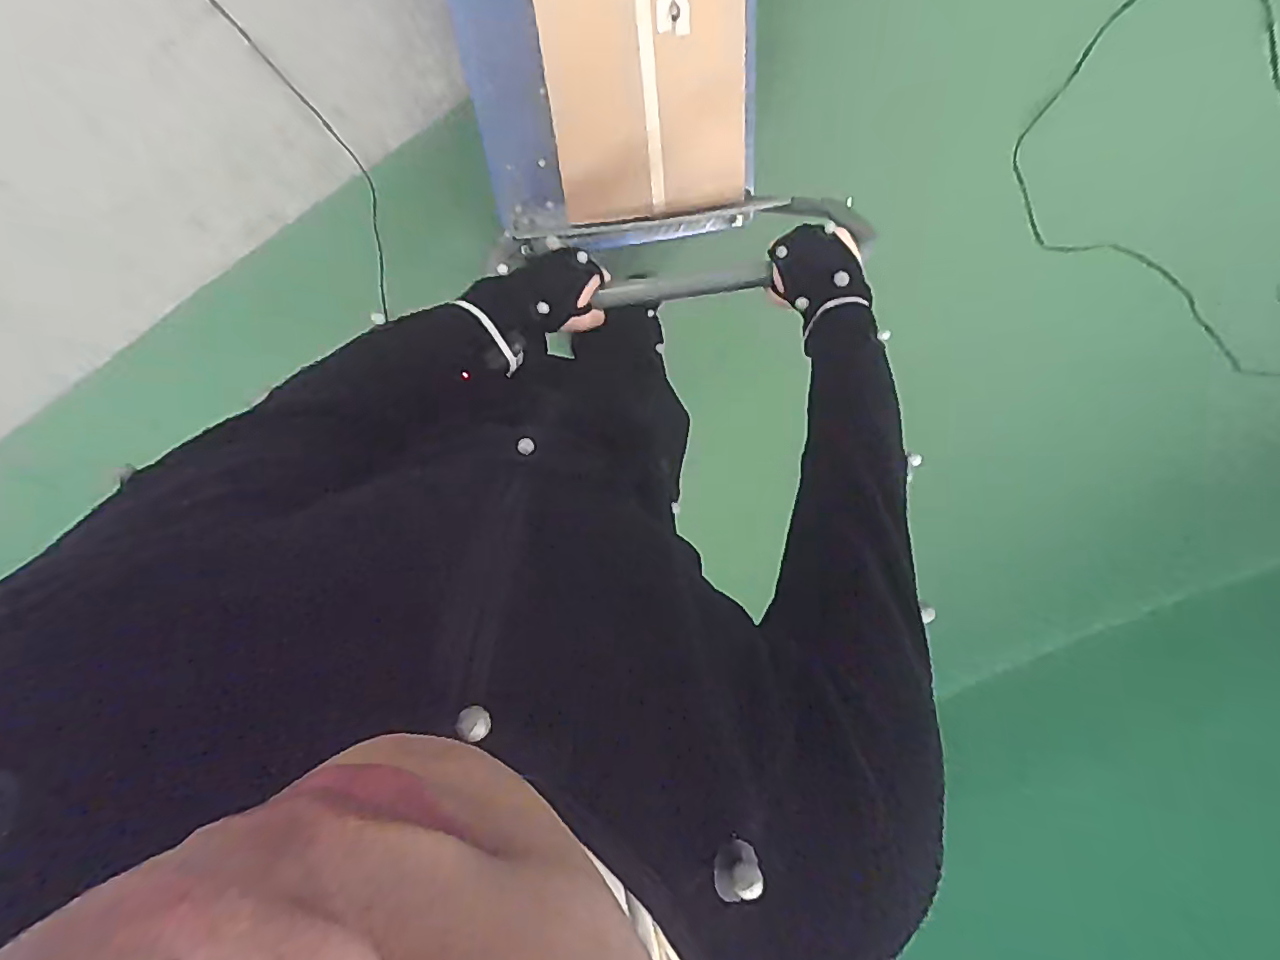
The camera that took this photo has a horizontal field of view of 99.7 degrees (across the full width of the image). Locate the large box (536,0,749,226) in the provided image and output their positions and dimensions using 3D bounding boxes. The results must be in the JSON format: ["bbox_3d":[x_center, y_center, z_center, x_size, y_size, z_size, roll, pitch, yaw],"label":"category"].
[{"bbox_3d":[0.000,-0.709,0.968,0.320,0.320,0.408,-9,122,-3],"label":"large box"}]
